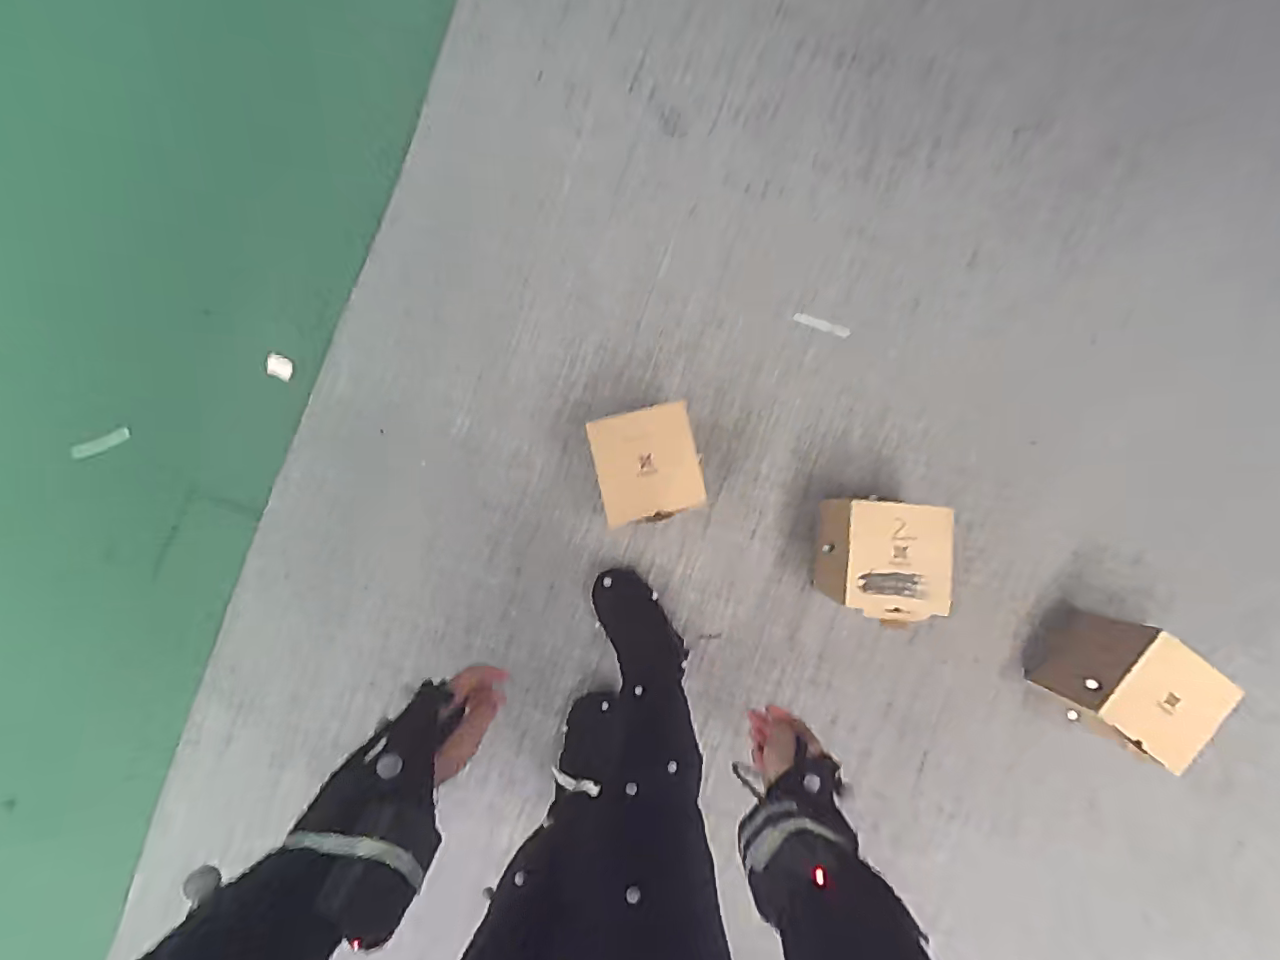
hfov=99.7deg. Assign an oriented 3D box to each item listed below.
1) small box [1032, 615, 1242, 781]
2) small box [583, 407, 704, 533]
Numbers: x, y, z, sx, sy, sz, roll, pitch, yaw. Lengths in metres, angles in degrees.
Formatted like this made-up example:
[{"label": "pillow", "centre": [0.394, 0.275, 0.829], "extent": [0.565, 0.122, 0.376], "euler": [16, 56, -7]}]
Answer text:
[{"label": "small box", "centre": [0.835, 0.359, 0.930], "extent": [0.168, 0.176, 0.179], "euler": [38, 89, 1]}, {"label": "small box", "centre": [0.006, -0.014, 0.946], "extent": [0.168, 0.176, 0.179], "euler": [-14, 87, -1]}]
